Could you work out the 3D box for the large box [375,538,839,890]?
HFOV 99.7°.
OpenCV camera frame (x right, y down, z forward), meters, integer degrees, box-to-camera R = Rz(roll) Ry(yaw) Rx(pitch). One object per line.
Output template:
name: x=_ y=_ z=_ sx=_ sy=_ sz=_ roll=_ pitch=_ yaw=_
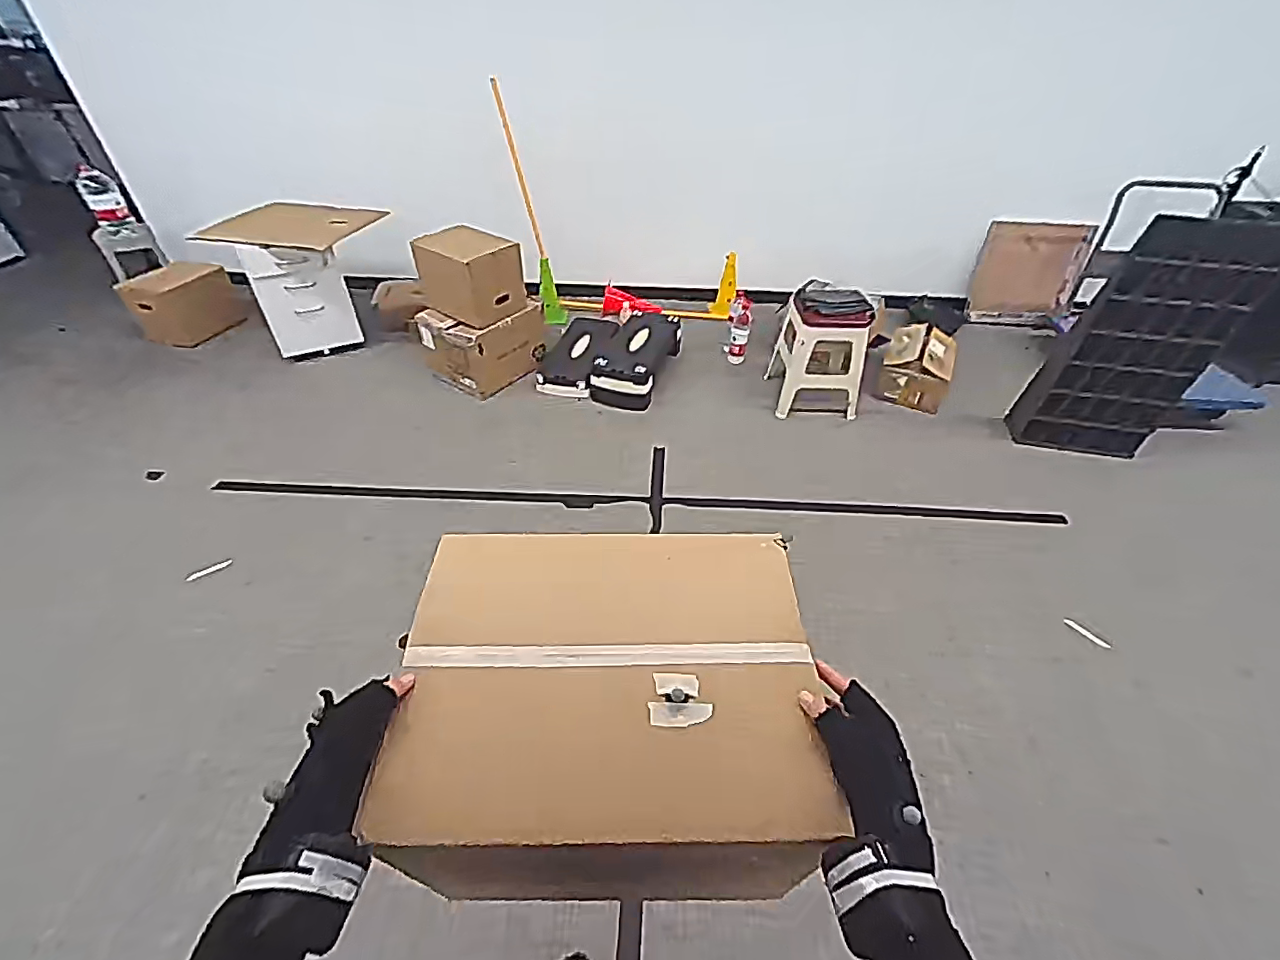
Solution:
large box: x=-0.032 y=0.285 z=0.665 sx=0.408 sy=0.320 sz=0.320 roll=1 pitch=46 yaw=-1
